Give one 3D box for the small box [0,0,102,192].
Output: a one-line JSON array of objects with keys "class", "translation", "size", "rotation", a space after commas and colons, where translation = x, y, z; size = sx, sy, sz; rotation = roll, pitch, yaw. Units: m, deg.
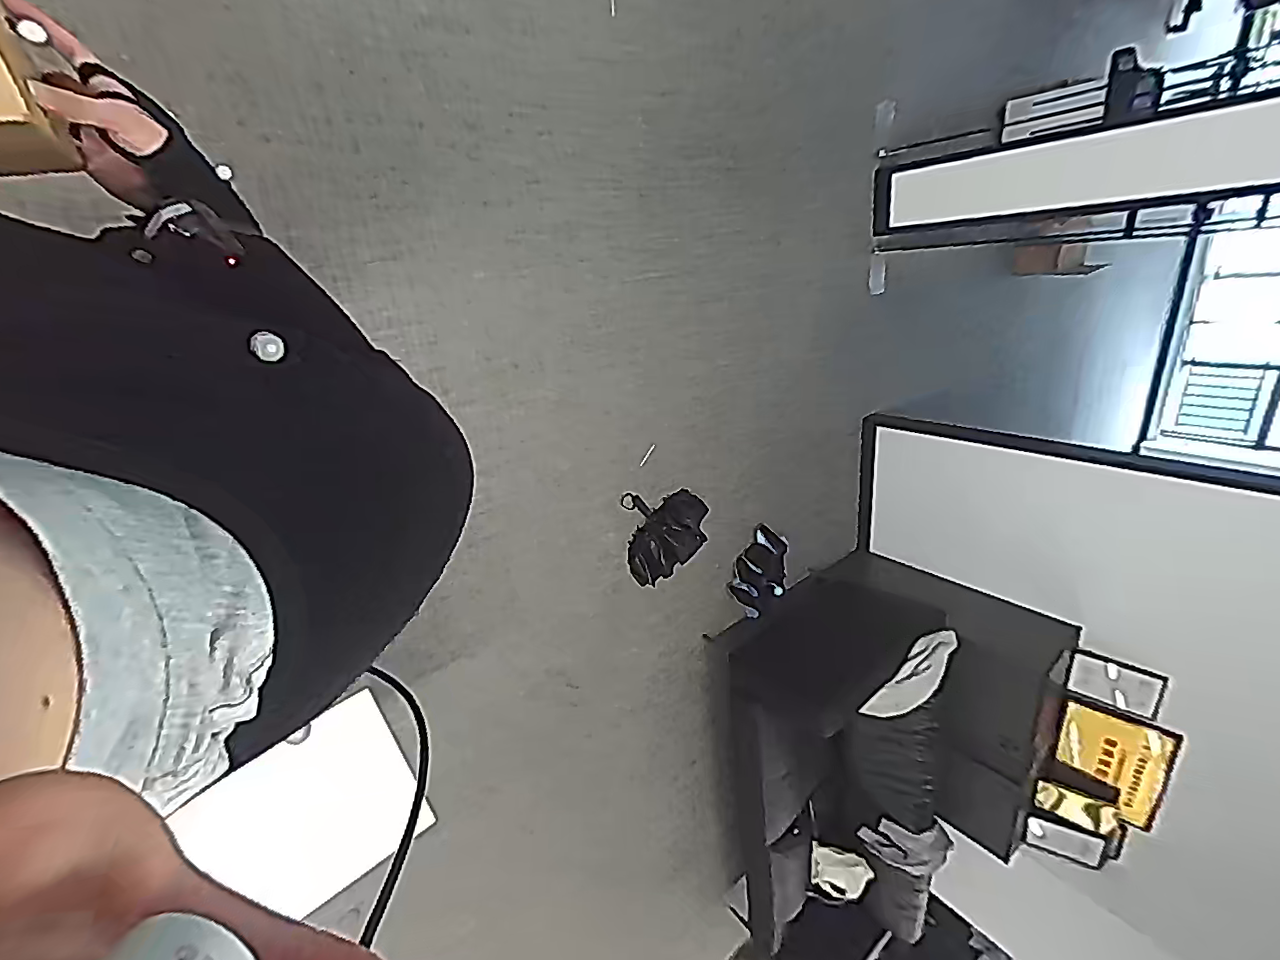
[{"class": "small box", "translation": [-0.502, -0.294, 0.342], "size": [0.168, 0.176, 0.179], "rotation": [-25, 117, -28]}]
